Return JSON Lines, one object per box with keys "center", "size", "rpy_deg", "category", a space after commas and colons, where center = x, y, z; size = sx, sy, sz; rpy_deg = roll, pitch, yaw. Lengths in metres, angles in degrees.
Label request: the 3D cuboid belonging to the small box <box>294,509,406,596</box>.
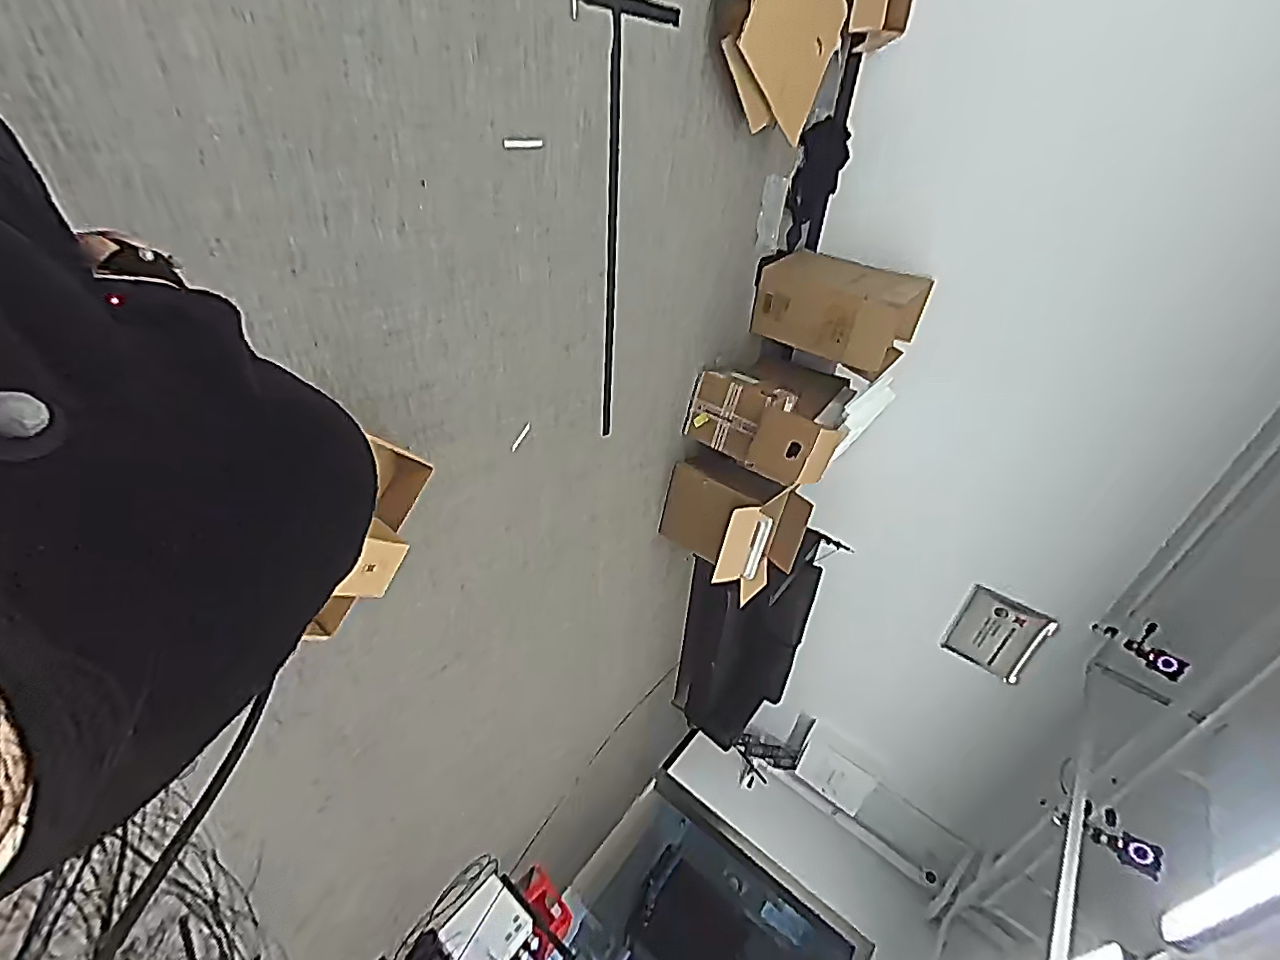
{"center": [-0.775, 0.193, 1.441], "size": [0.168, 0.176, 0.179], "rpy_deg": [-61, 152, 1], "category": "small box"}
